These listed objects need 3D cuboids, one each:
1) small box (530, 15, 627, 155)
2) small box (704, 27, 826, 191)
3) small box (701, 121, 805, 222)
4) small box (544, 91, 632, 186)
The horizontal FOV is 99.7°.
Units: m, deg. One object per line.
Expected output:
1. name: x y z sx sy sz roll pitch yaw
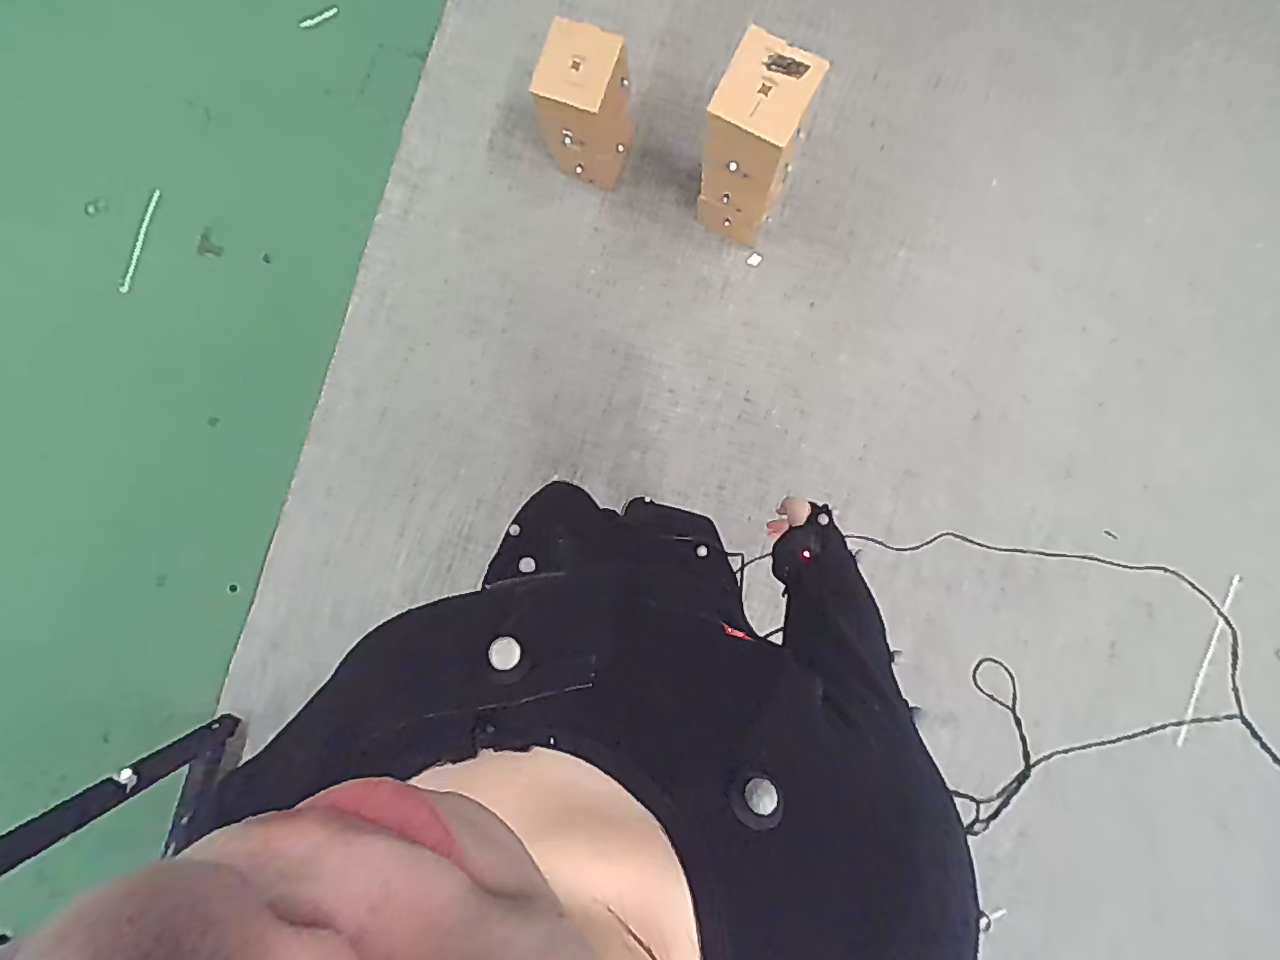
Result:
1. small box: -0.134 -0.908 1.258 0.168 0.176 0.179 20 93 4
2. small box: 0.235 -0.725 1.078 0.168 0.176 0.179 29 94 2
3. small box: 0.248 -0.737 1.241 0.168 0.176 0.179 27 93 2
4. small box: -0.128 -0.914 1.420 0.168 0.176 0.179 23 93 2
